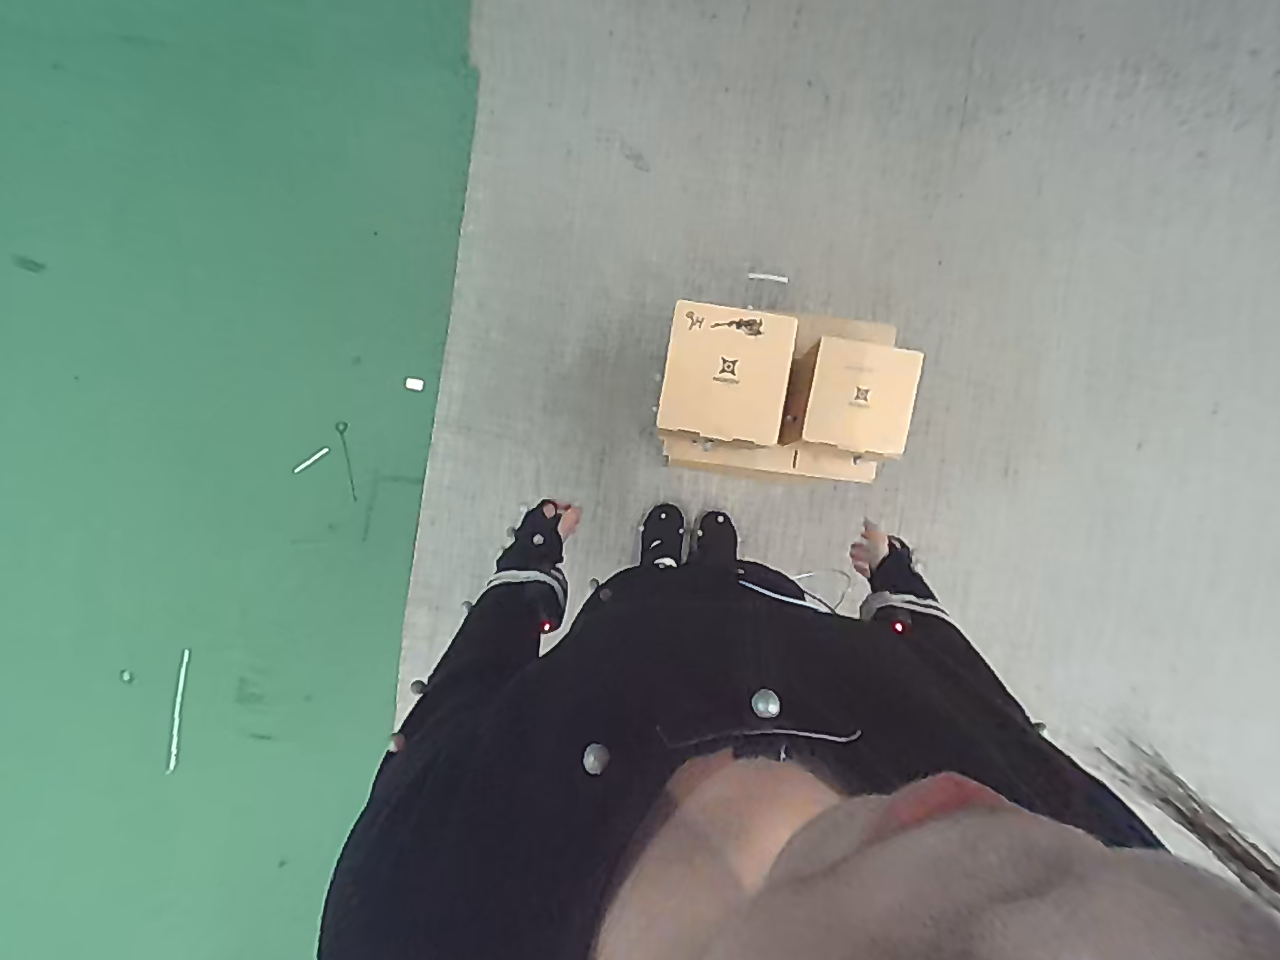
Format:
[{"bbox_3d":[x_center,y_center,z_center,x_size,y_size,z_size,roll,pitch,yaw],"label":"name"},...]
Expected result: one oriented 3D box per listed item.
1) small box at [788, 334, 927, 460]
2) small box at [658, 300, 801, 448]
[{"bbox_3d":[0.366,-0.134,0.943,0.168,0.176,0.179,12,91,4],"label":"small box"},{"bbox_3d":[0.123,-0.145,0.795,0.168,0.176,0.179,9,93,2],"label":"small box"}]
